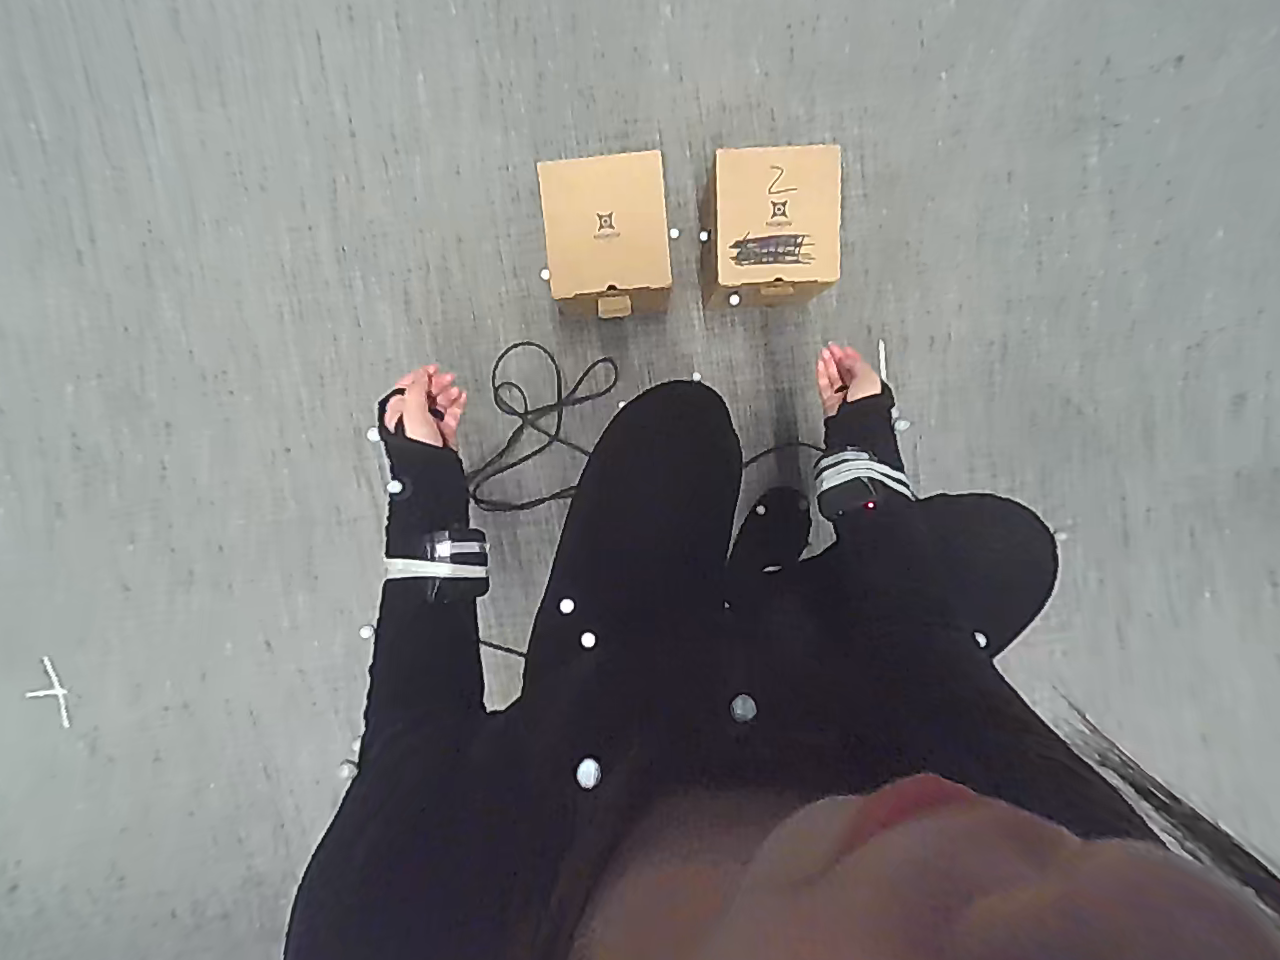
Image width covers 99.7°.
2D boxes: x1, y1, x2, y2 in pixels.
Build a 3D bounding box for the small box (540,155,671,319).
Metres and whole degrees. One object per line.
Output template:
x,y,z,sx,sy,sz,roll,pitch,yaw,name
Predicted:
-0.046,-0.348,0.804,0.168,0.176,0.179,-5,98,1,small box
